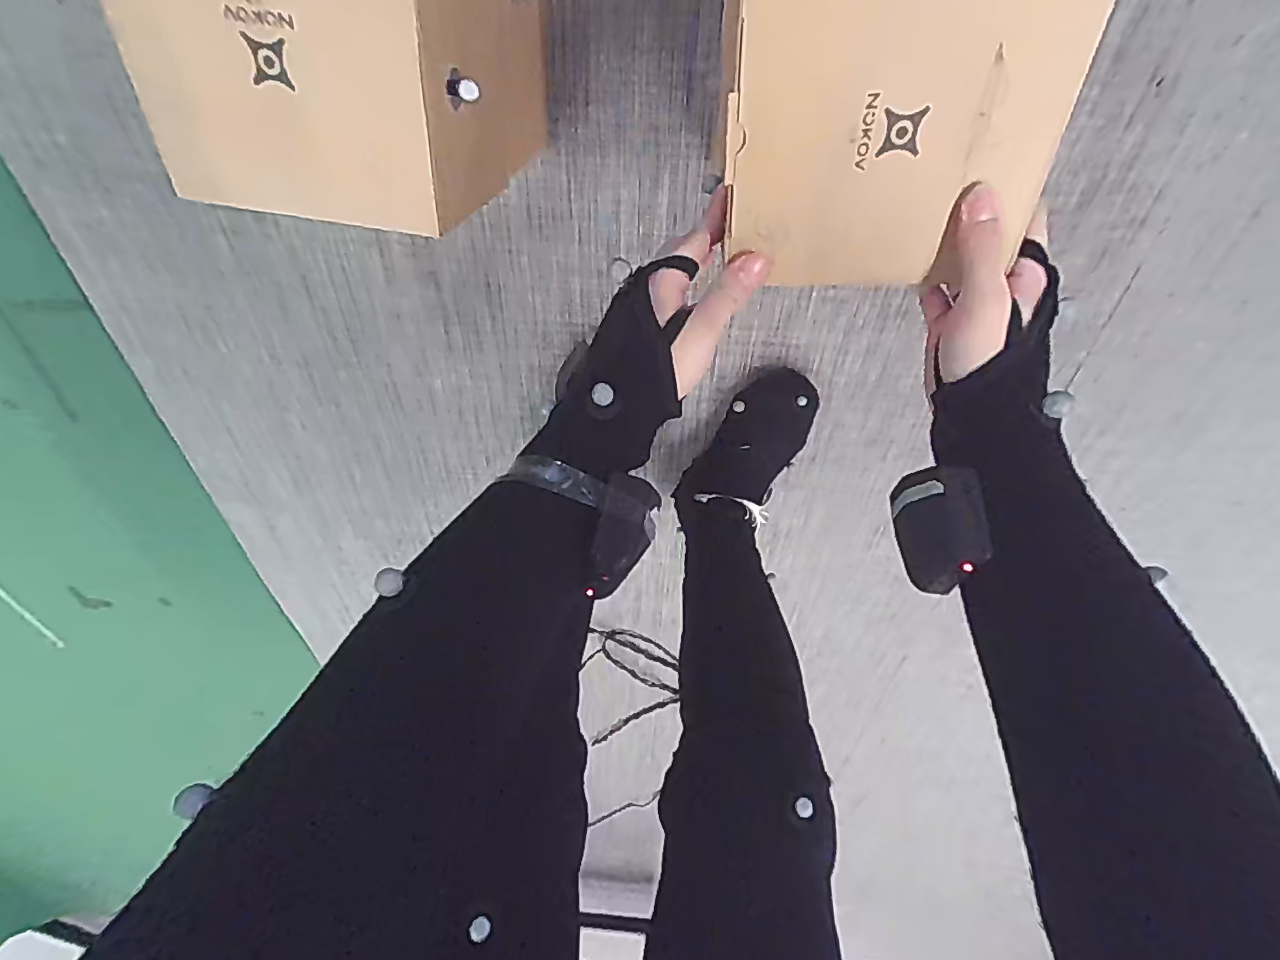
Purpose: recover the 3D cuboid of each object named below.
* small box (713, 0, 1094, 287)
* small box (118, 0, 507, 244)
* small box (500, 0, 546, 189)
[{"bbox_3d":[0.140,-0.239,0.360,0.179,0.176,0.168,1,130,5],"label":"small box"},{"bbox_3d":[-0.191,-0.281,0.359,0.168,0.176,0.179,8,128,-1],"label":"small box"},{"bbox_3d":[-0.182,-0.384,0.488,0.168,0.176,0.179,7,128,0],"label":"small box"}]
